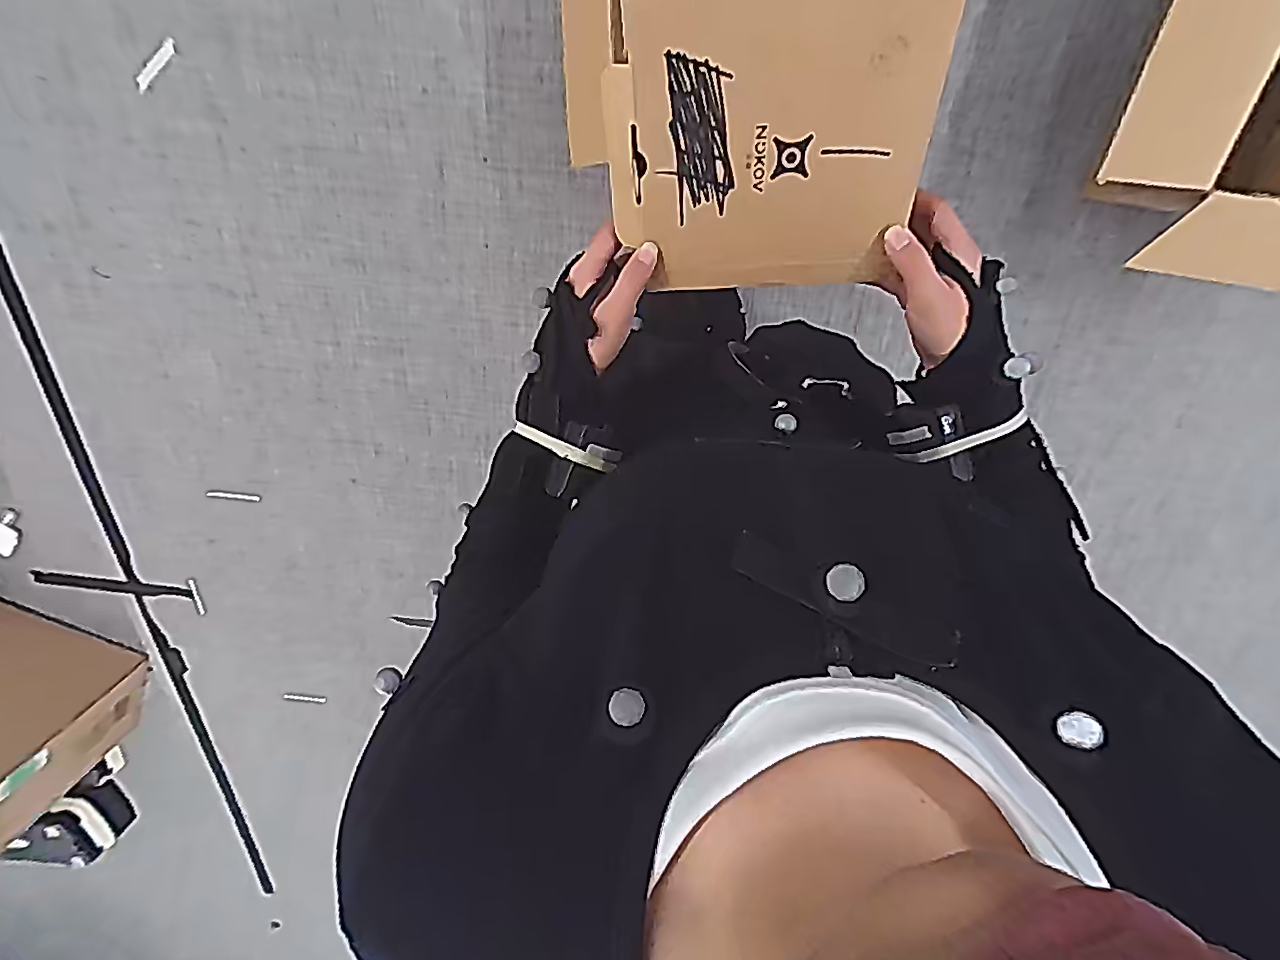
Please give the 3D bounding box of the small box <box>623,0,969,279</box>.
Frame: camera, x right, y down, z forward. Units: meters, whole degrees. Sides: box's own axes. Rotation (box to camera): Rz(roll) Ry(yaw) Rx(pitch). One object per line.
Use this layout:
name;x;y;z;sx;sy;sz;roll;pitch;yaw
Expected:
small box;0.088;-0.256;0.374;0.179;0.176;0.168;-1;135;5
